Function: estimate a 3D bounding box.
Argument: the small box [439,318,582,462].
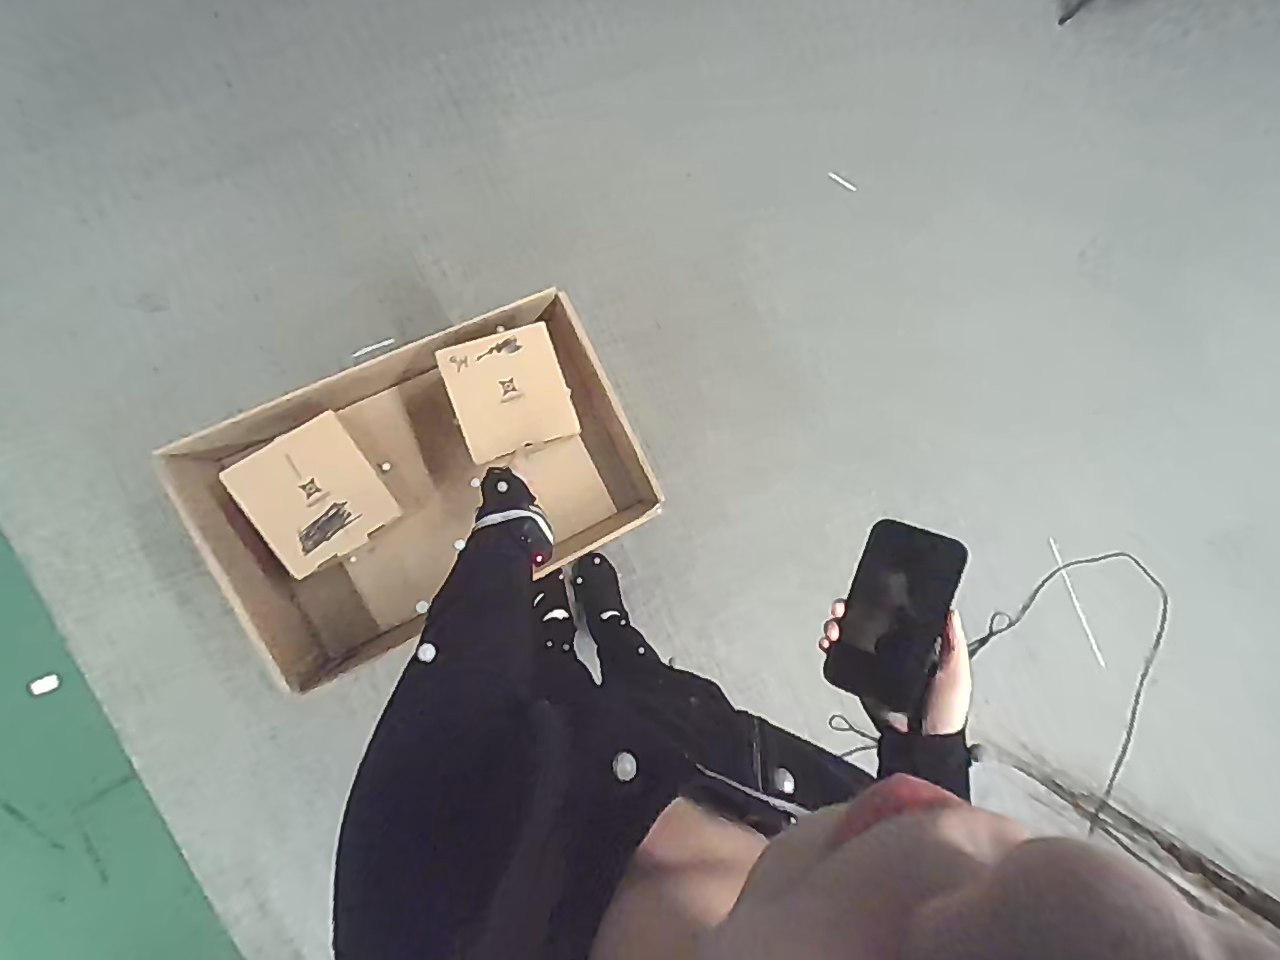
[{"bbox_3d":[-0.202,-0.137,0.869,0.168,0.176,0.179,-20,95,-11],"label":"small box"}]
